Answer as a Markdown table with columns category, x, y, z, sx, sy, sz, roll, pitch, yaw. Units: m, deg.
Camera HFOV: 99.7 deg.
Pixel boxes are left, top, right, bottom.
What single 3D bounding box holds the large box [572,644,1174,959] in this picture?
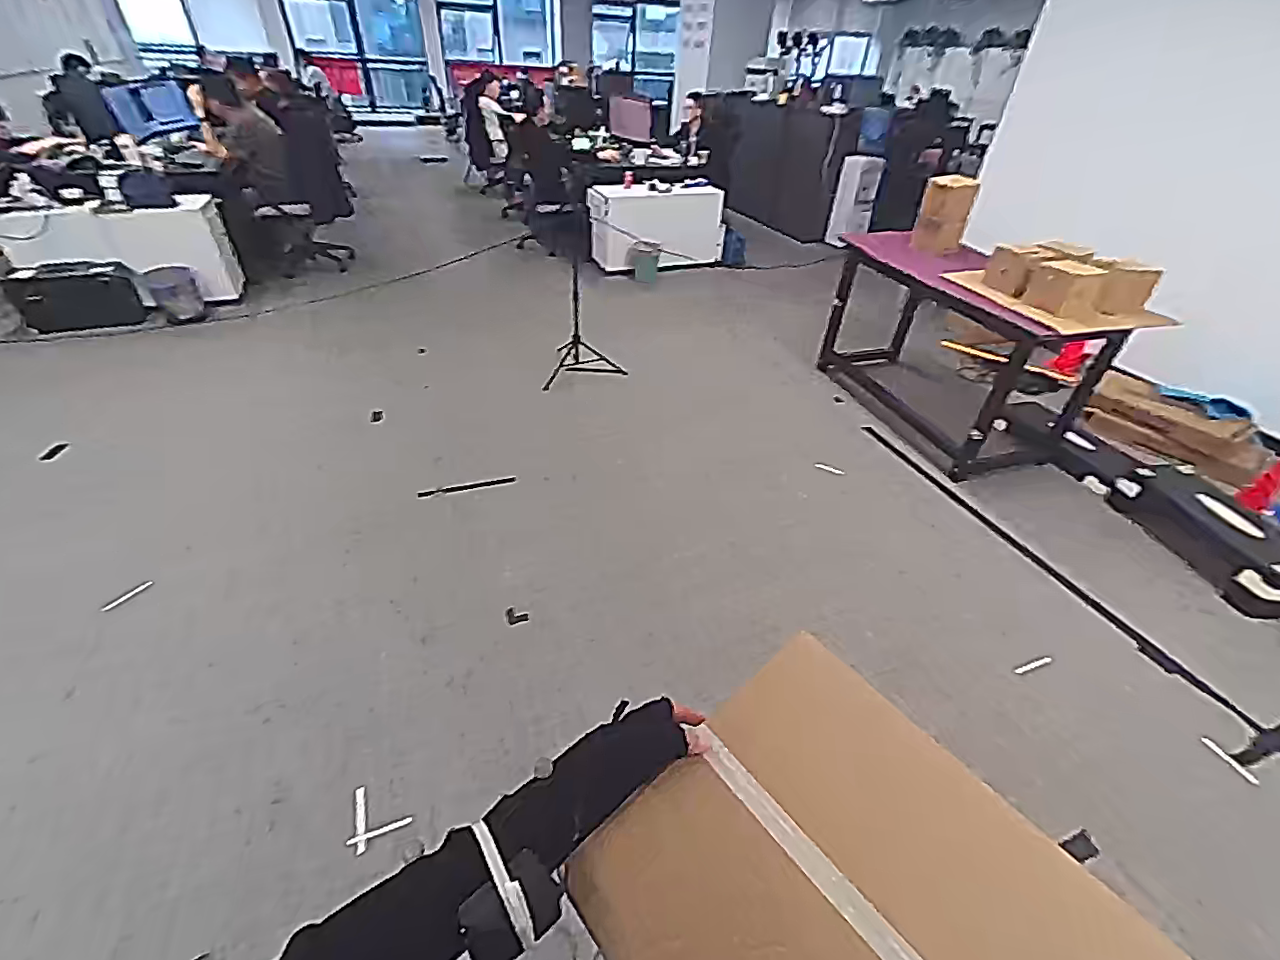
| category | x | y | z | sx | sy | sz | roll | pitch | yaw |
| --- | --- | --- | --- | --- | --- | --- | --- | --- | --- |
| large box | 0.181 | 0.450 | 0.510 | 0.320 | 0.320 | 0.408 | -32 | 56 | -27 |
